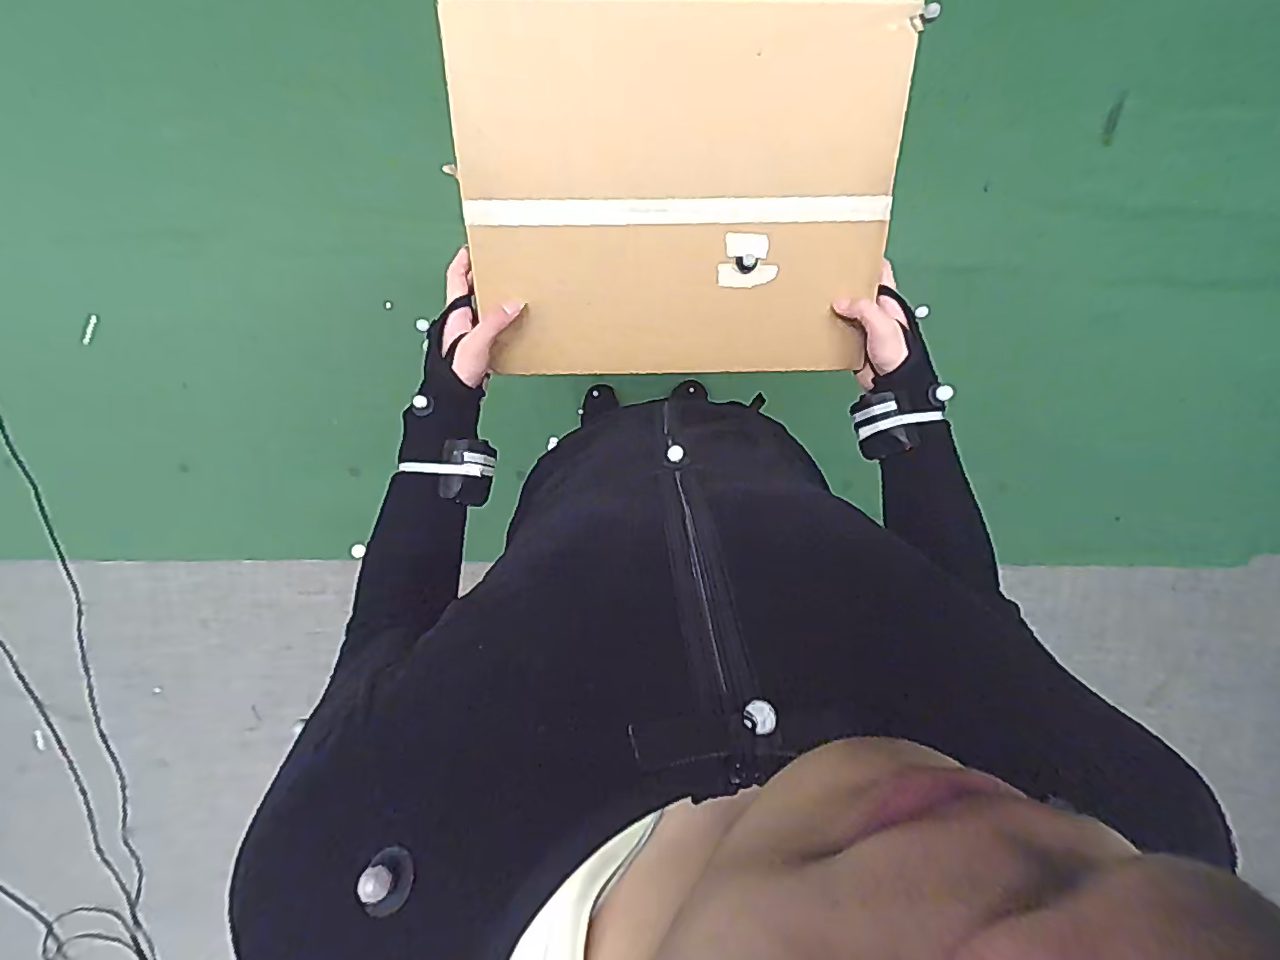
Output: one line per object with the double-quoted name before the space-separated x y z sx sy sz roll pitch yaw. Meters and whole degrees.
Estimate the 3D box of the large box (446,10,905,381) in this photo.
"large box" 0.029 -0.317 0.657 0.408 0.320 0.320 -3 116 -2
